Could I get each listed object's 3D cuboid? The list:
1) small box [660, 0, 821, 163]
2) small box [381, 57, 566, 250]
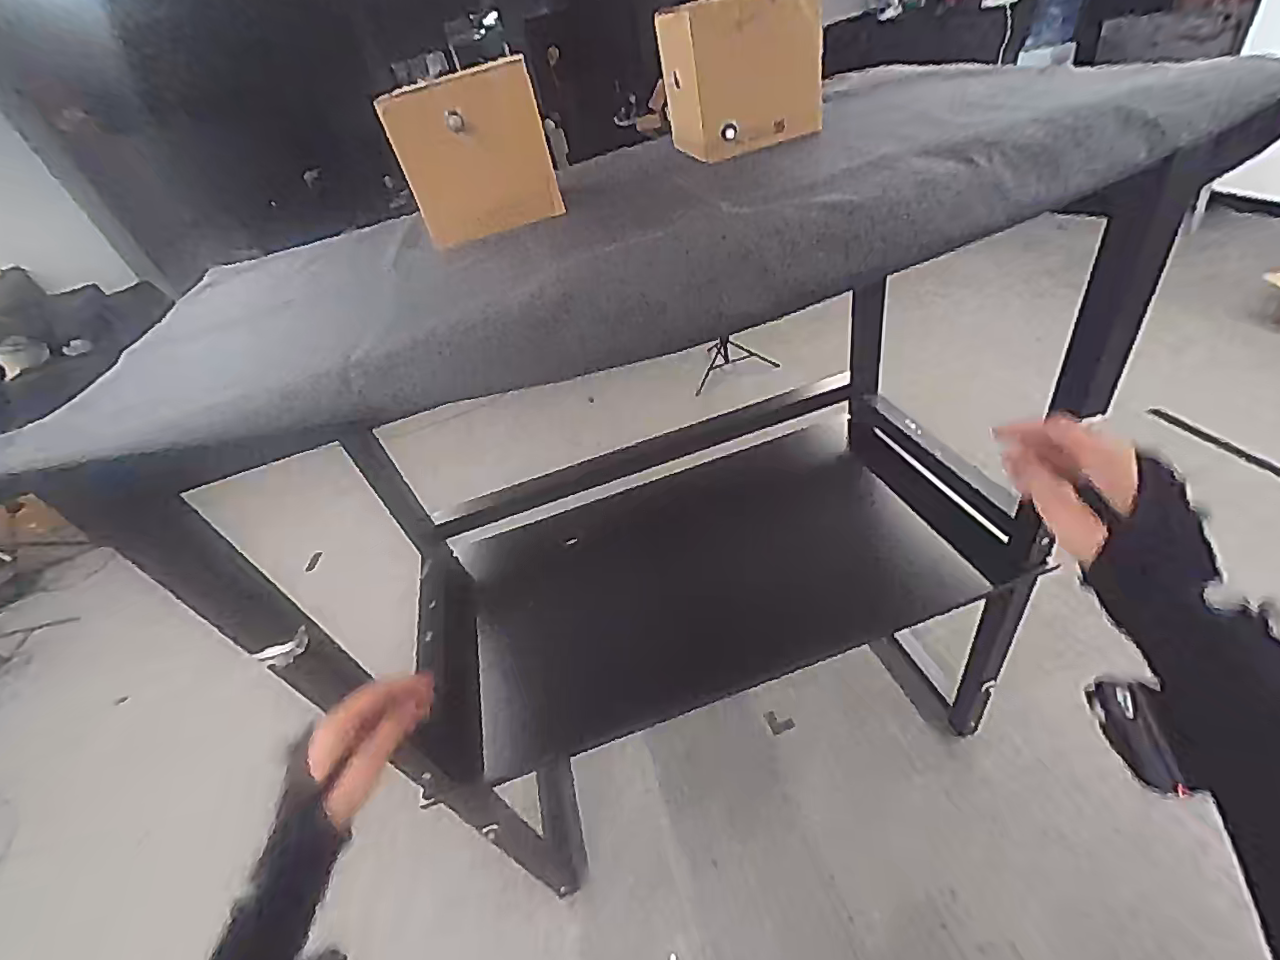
[{"bbox_3d":[0.139,-0.558,0.746,0.168,0.176,0.179,-17,39,-2],"label":"small box"},{"bbox_3d":[-0.201,-0.427,0.709,0.179,0.176,0.168,-16,40,0],"label":"small box"}]
